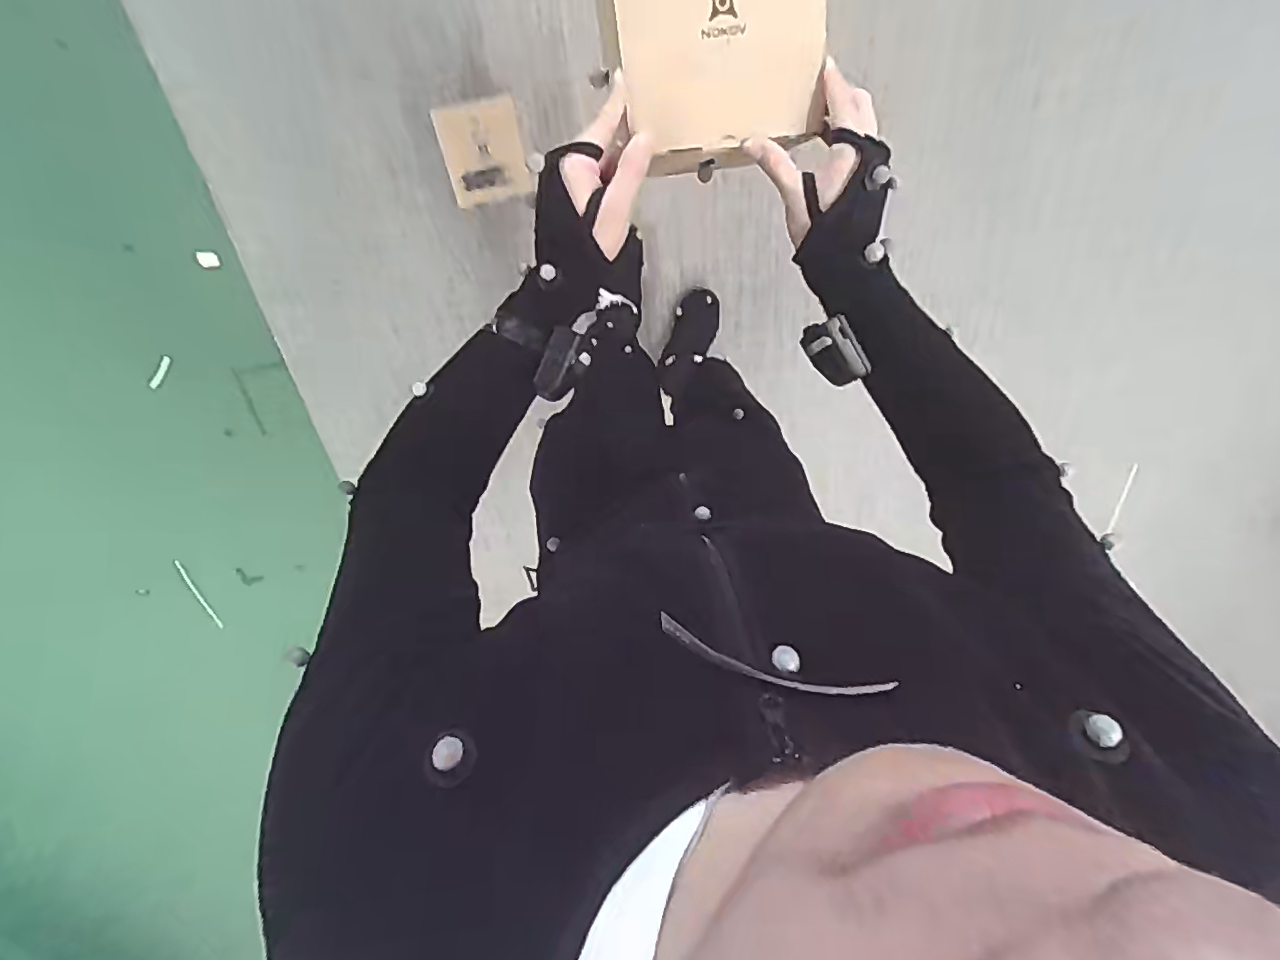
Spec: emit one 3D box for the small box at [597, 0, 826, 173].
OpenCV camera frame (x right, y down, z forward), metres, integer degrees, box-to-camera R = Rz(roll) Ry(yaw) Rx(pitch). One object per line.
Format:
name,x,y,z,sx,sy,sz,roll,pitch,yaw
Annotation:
small box,0.054,-0.384,0.484,0.168,0.176,0.179,-9,115,-2
